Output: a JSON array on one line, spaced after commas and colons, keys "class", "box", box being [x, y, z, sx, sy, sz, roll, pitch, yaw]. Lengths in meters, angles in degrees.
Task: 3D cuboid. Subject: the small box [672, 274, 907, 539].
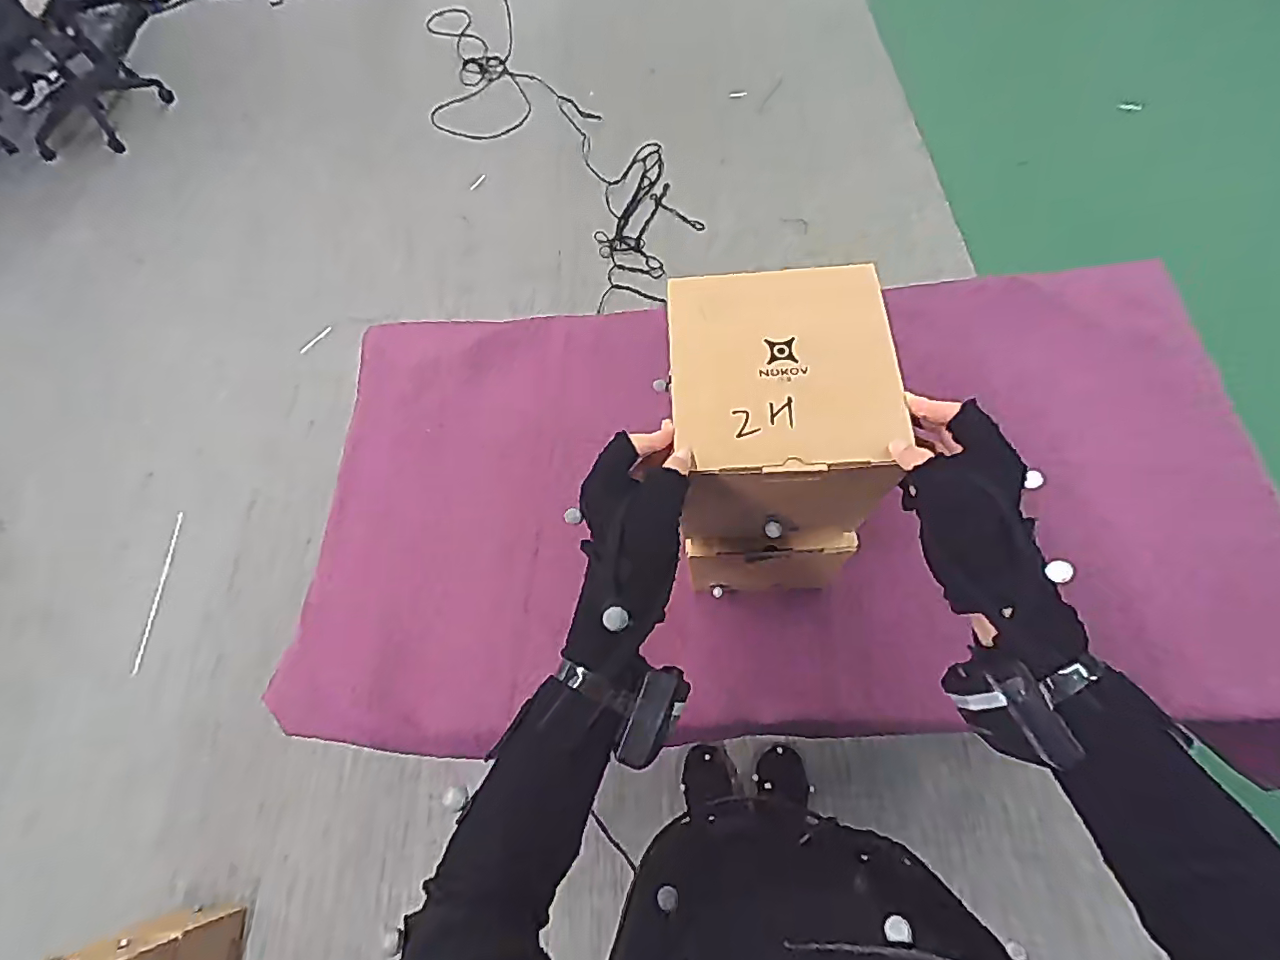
[{"class": "small box", "box": [0.112, -0.055, 0.486, 0.168, 0.176, 0.179, -2, 67, 5]}]

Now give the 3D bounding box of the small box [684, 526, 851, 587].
[{"class": "small box", "box": [0.138, 0.027, 0.639, 0.168, 0.176, 0.179, -2, 65, 7]}]
